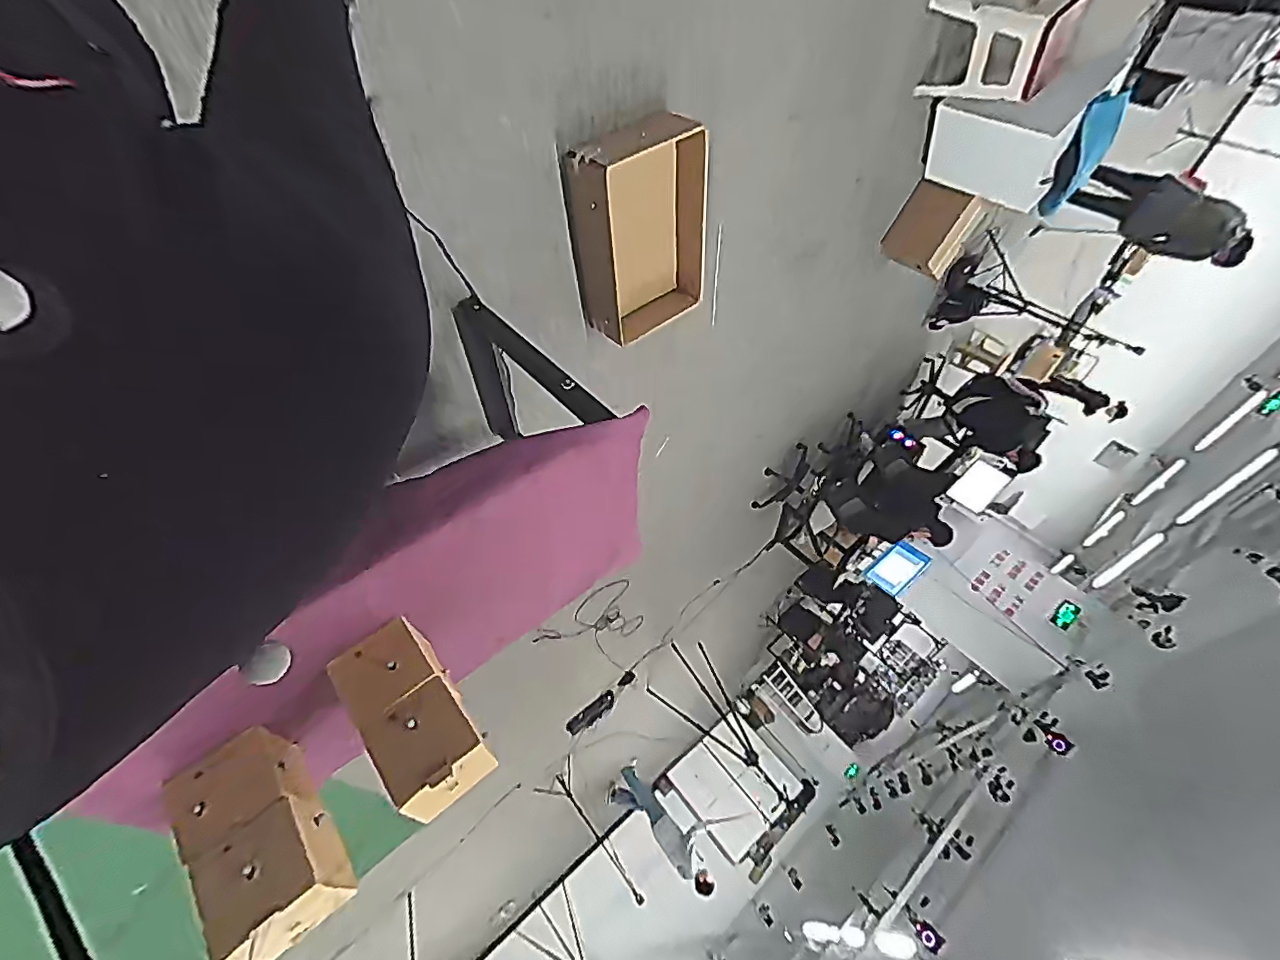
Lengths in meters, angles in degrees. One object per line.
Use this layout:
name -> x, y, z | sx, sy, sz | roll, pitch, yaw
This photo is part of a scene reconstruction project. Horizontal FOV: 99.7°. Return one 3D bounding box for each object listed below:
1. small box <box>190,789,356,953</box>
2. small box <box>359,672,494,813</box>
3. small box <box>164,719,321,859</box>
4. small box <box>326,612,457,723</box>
small box -> -0.650, 0.688, 0.962 | 0.168, 0.176, 0.179 | -33, 147, -24
small box -> -0.414, 0.509, 1.060 | 0.168, 0.176, 0.179 | -34, 149, -25
small box -> -0.760, 0.595, 1.039 | 0.168, 0.176, 0.179 | -33, 149, -24
small box -> -0.519, 0.406, 1.135 | 0.168, 0.176, 0.179 | -35, 150, -22
